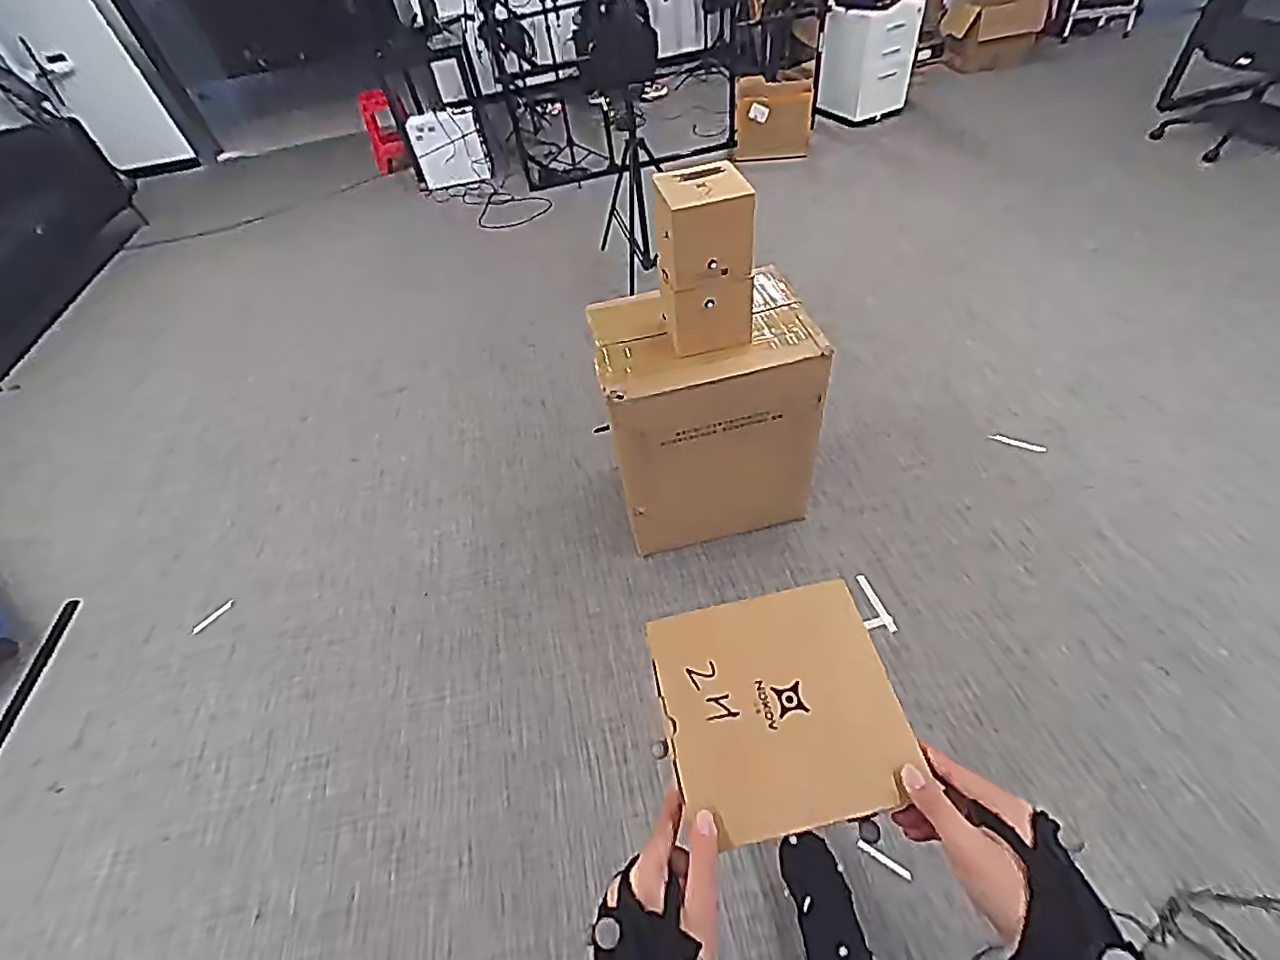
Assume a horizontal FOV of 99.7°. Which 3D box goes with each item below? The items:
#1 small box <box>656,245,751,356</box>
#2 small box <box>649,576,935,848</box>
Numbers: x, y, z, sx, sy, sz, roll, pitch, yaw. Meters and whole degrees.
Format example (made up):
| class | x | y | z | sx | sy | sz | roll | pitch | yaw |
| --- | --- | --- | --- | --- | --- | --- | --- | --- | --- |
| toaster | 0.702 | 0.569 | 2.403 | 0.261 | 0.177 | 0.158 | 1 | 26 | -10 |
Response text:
| class | x | y | z | sx | sy | sz | roll | pitch | yaw |
| --- | --- | --- | --- | --- | --- | --- | --- | --- | --- |
| small box | 0.146 | -0.406 | 1.235 | 0.179 | 0.176 | 0.168 | -13 | 49 | -3 |
| small box | 0.110 | 0.207 | 0.476 | 0.179 | 0.176 | 0.168 | -12 | 56 | -3 |
